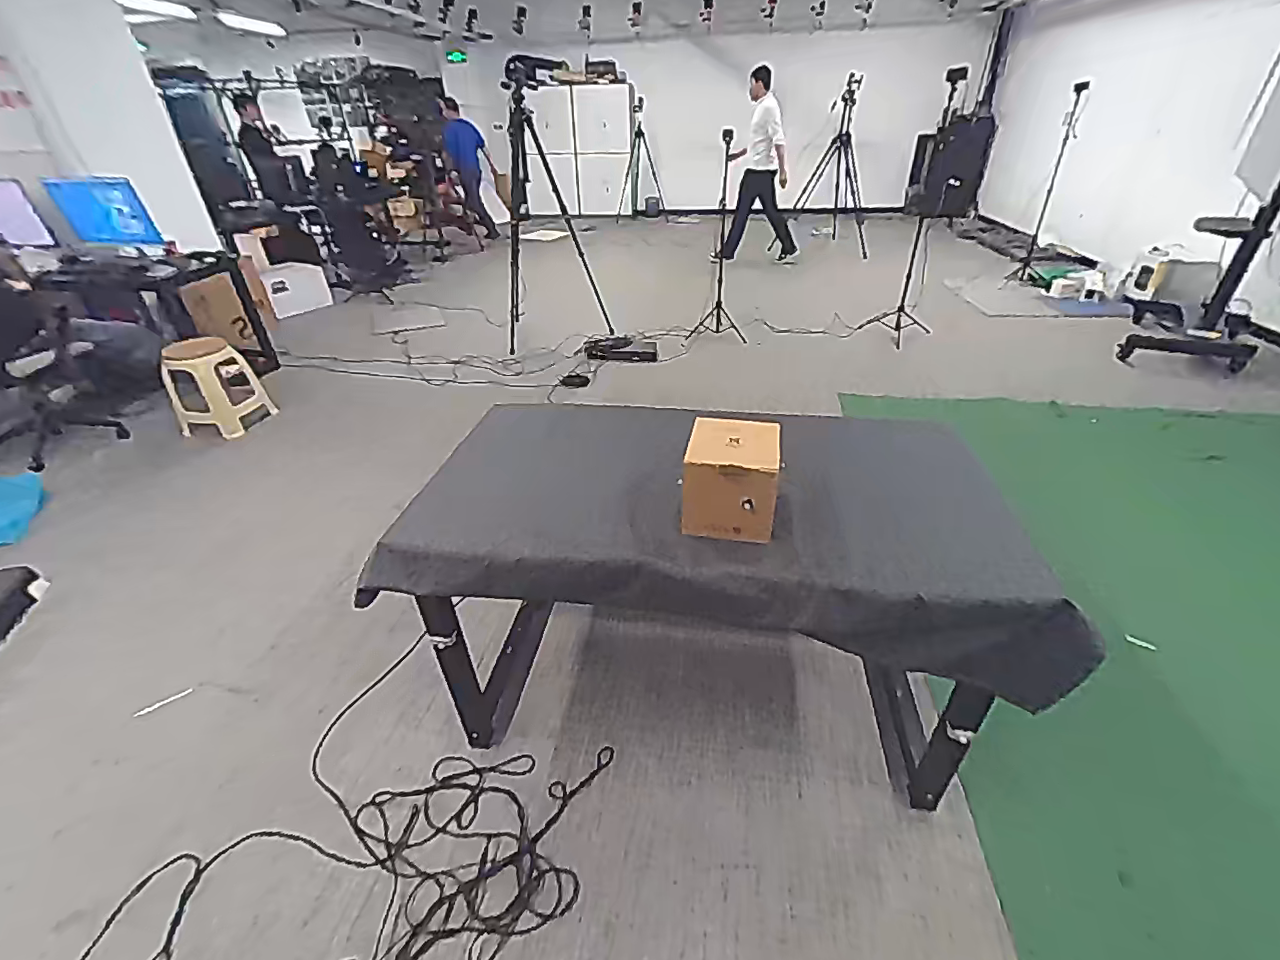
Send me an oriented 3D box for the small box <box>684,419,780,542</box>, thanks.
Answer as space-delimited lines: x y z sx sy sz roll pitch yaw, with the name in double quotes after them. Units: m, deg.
0.176 0.000 1.036 0.168 0.176 0.179 6 33 10 "small box"
